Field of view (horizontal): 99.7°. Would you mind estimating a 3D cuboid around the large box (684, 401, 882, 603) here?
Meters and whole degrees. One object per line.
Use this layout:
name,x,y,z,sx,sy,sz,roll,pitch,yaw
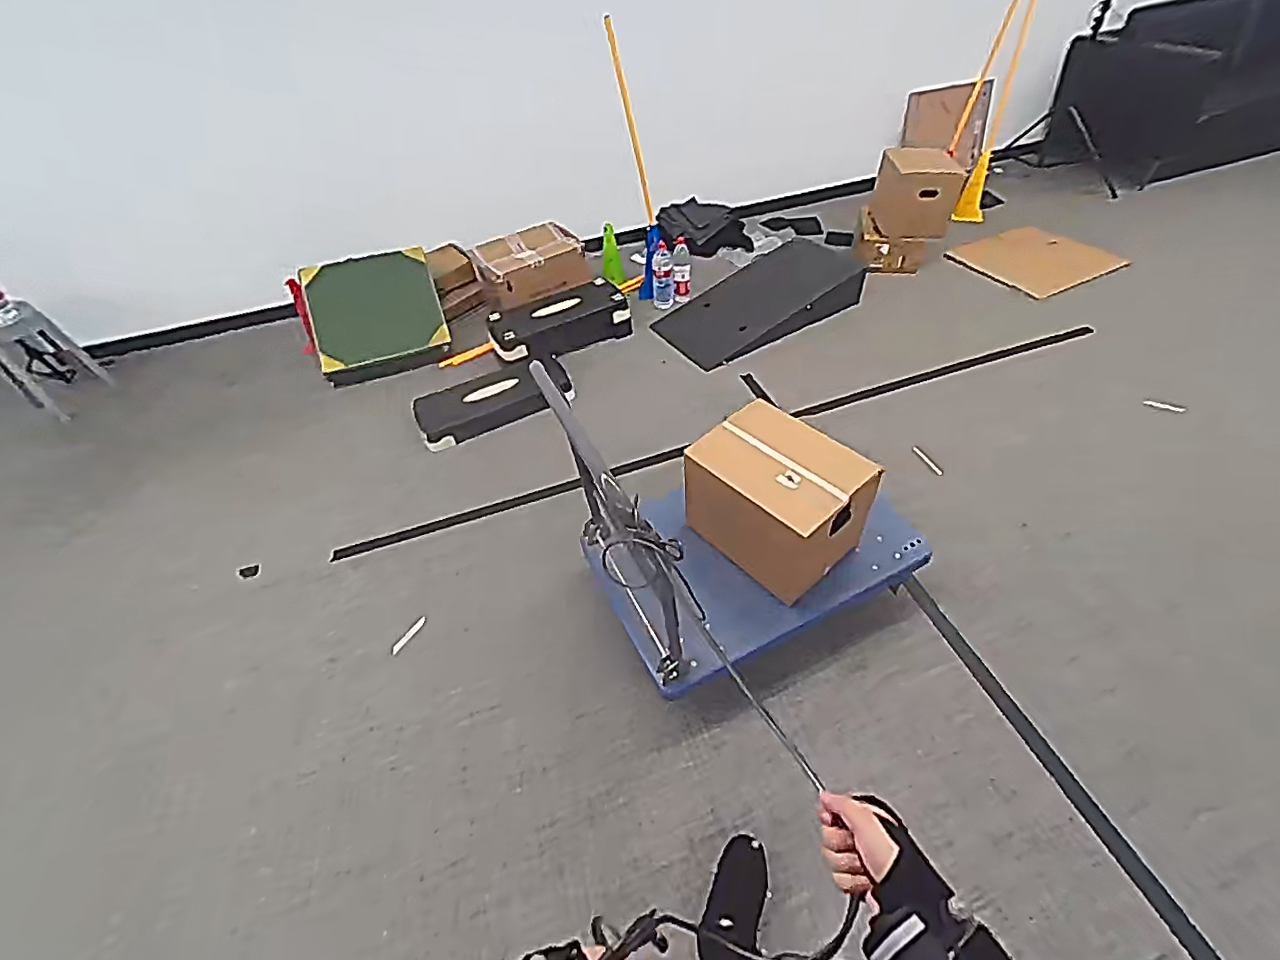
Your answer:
large box,0.364,0.052,1.488,0.320,0.320,0.408,-35,54,-23
